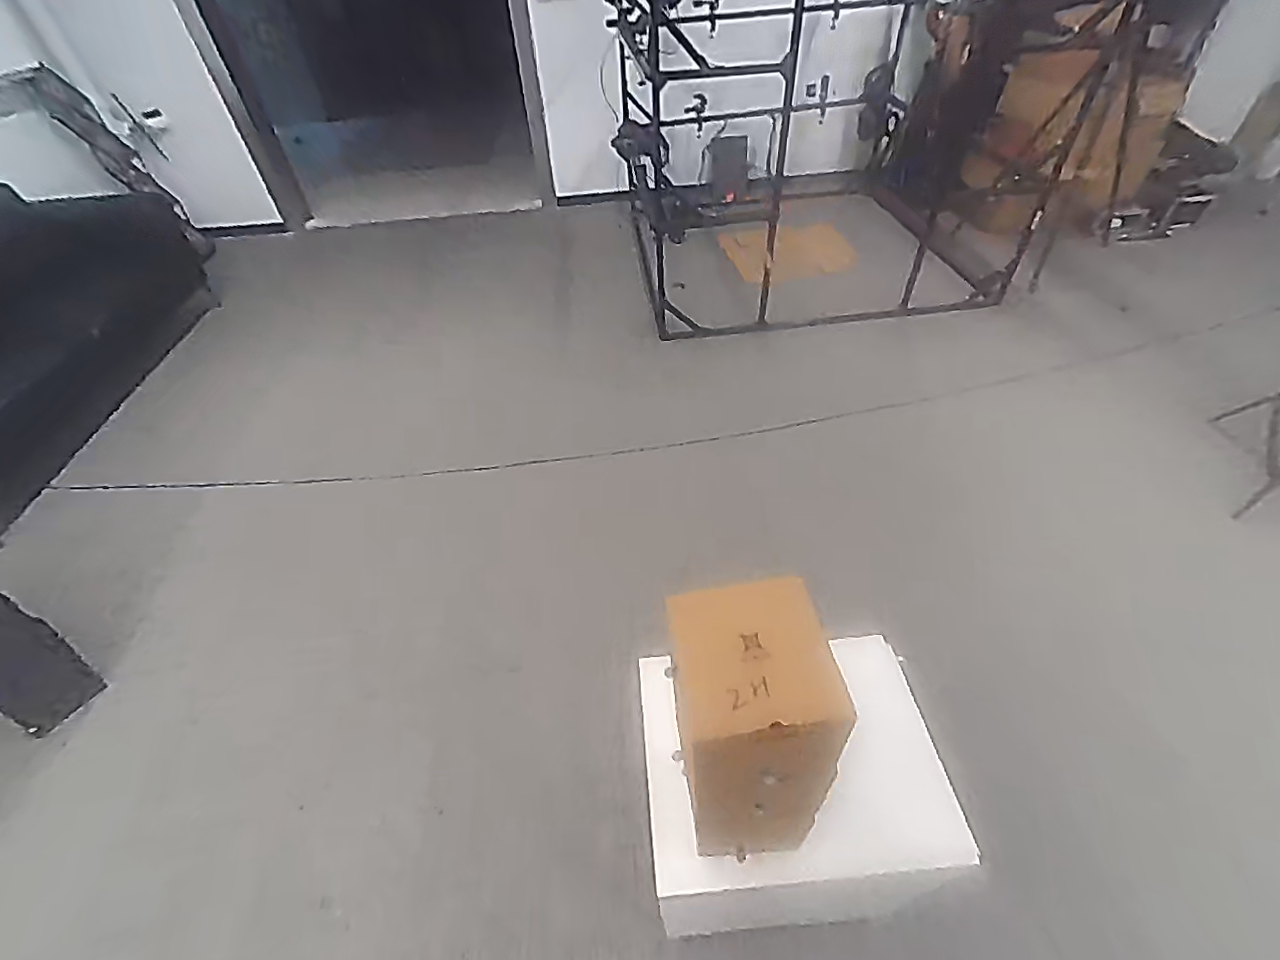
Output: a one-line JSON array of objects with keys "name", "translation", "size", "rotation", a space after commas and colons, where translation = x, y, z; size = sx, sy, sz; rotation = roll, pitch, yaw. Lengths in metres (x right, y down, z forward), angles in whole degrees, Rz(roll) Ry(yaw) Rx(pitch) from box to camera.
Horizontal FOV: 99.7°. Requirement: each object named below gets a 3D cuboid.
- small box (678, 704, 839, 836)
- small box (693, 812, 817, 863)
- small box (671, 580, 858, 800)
[{"name": "small box", "translation": [0.148, 0.368, 0.749], "size": [0.179, 0.176, 0.168], "rotation": [-9, 43, -2]}, {"name": "small box", "translation": [0.164, 0.484, 0.863], "size": [0.168, 0.176, 0.179], "rotation": [-5, 44, 0]}, {"name": "small box", "translation": [0.129, 0.246, 0.639], "size": [0.168, 0.176, 0.179], "rotation": [-8, 43, -2]}]
